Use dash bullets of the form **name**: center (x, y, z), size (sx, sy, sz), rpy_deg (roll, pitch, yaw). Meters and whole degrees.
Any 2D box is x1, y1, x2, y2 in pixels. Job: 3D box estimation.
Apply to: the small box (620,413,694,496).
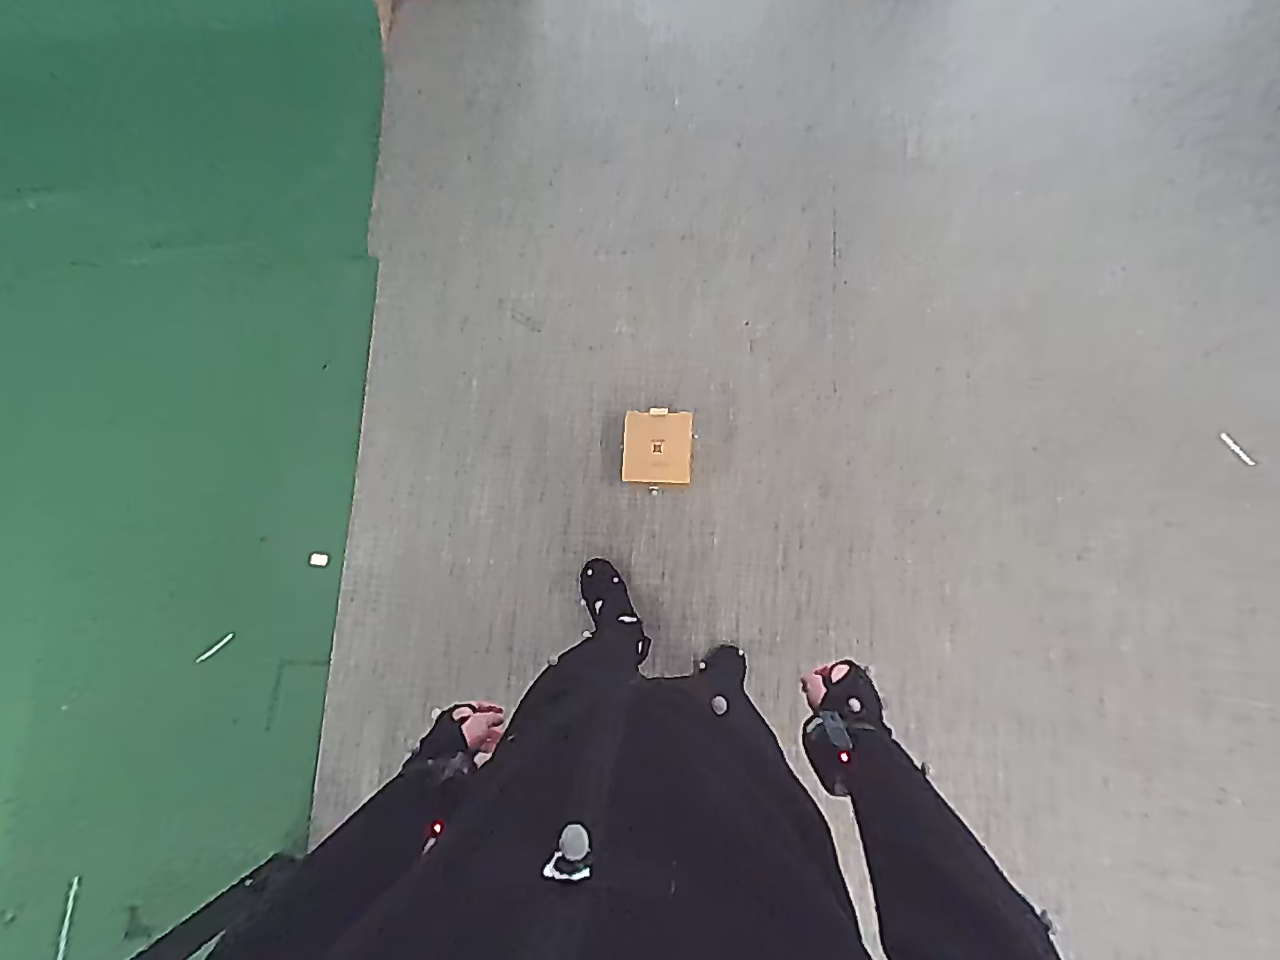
- **small box**: center (0.049, -0.060, 1.366), size (0.168, 0.176, 0.179), rpy_deg (4, 82, 8)
